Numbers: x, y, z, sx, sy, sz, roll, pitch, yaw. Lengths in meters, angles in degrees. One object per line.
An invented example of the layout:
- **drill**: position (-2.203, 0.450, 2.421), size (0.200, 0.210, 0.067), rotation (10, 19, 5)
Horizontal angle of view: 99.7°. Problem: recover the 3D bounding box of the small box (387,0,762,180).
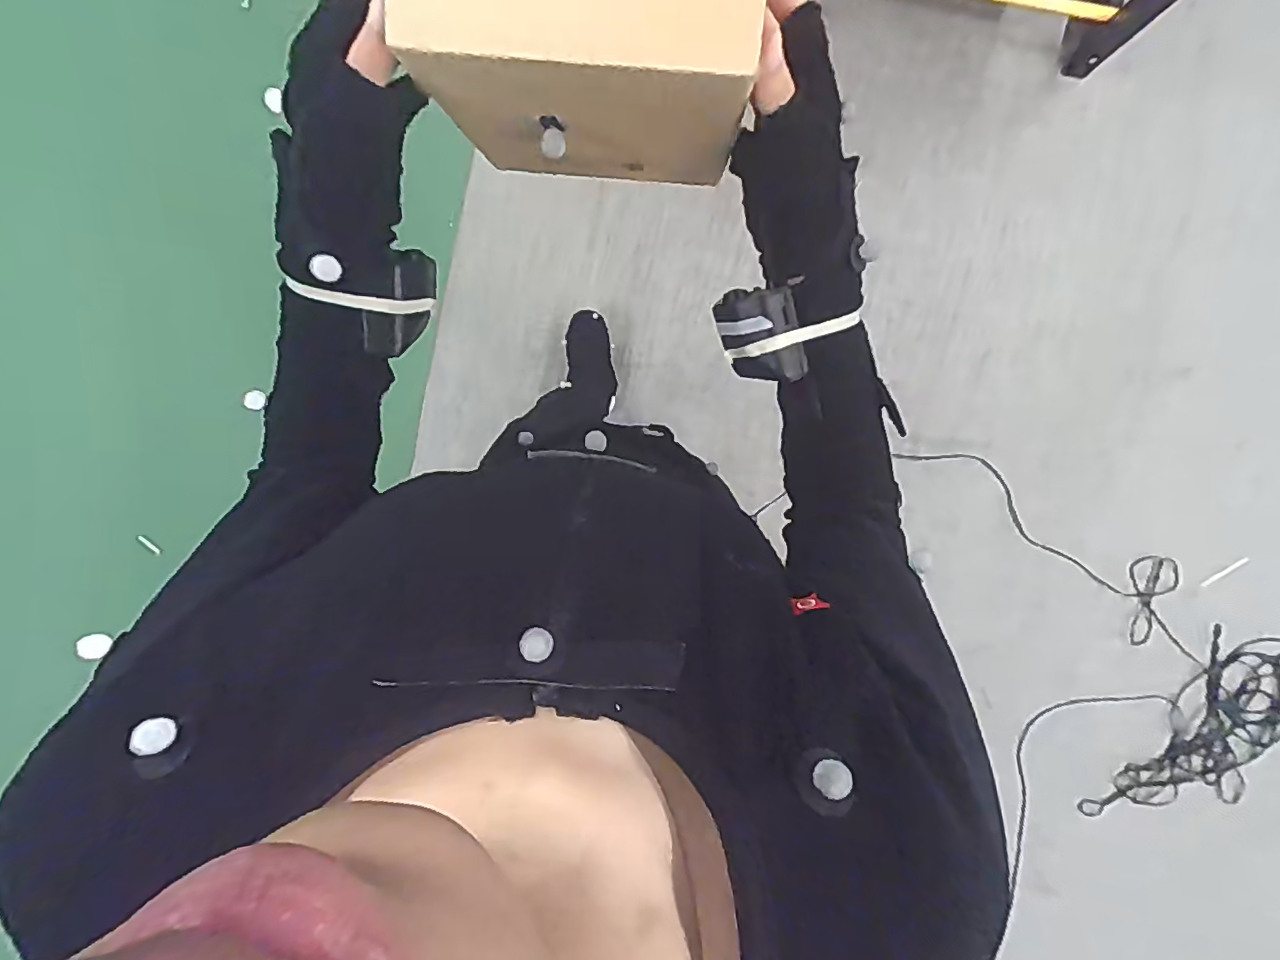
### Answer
- **small box**: position (-0.019, -0.285, 0.295), size (0.168, 0.176, 0.179), rotation (5, 102, 1)
